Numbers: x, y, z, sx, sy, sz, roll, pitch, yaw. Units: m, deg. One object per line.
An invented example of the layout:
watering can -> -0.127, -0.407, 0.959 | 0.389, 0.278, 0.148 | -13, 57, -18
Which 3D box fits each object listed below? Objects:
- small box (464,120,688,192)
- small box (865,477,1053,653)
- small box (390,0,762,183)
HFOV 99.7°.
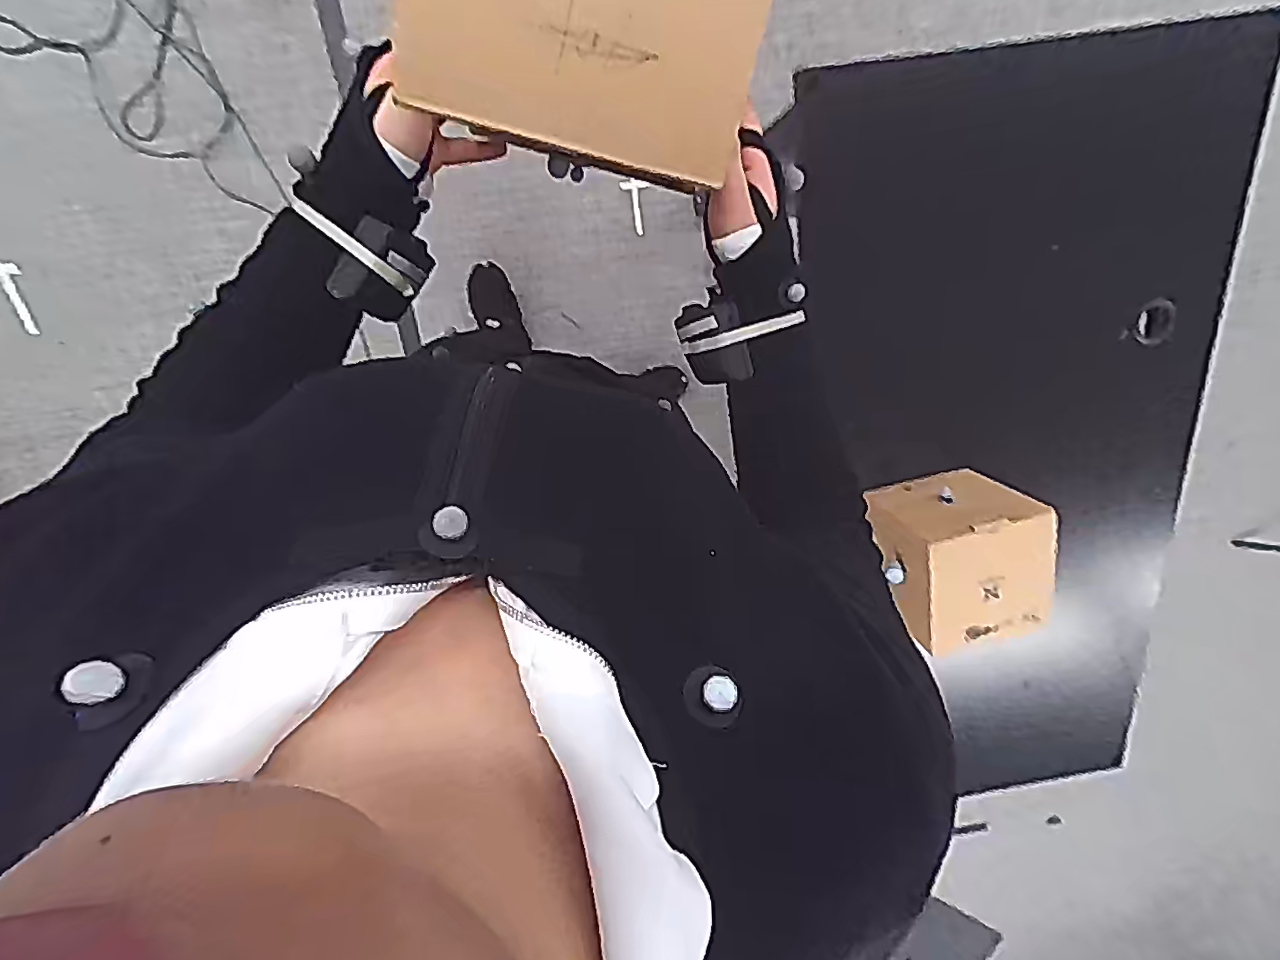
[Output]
small box -> -0.033, -0.353, 0.446 | 0.179, 0.176, 0.168 | 10, 118, -9
small box -> 0.435, 0.106, 0.761 | 0.168, 0.176, 0.179 | -13, 109, -2
small box -> -0.025, -0.283, 0.300 | 0.168, 0.176, 0.179 | 10, 120, -8
